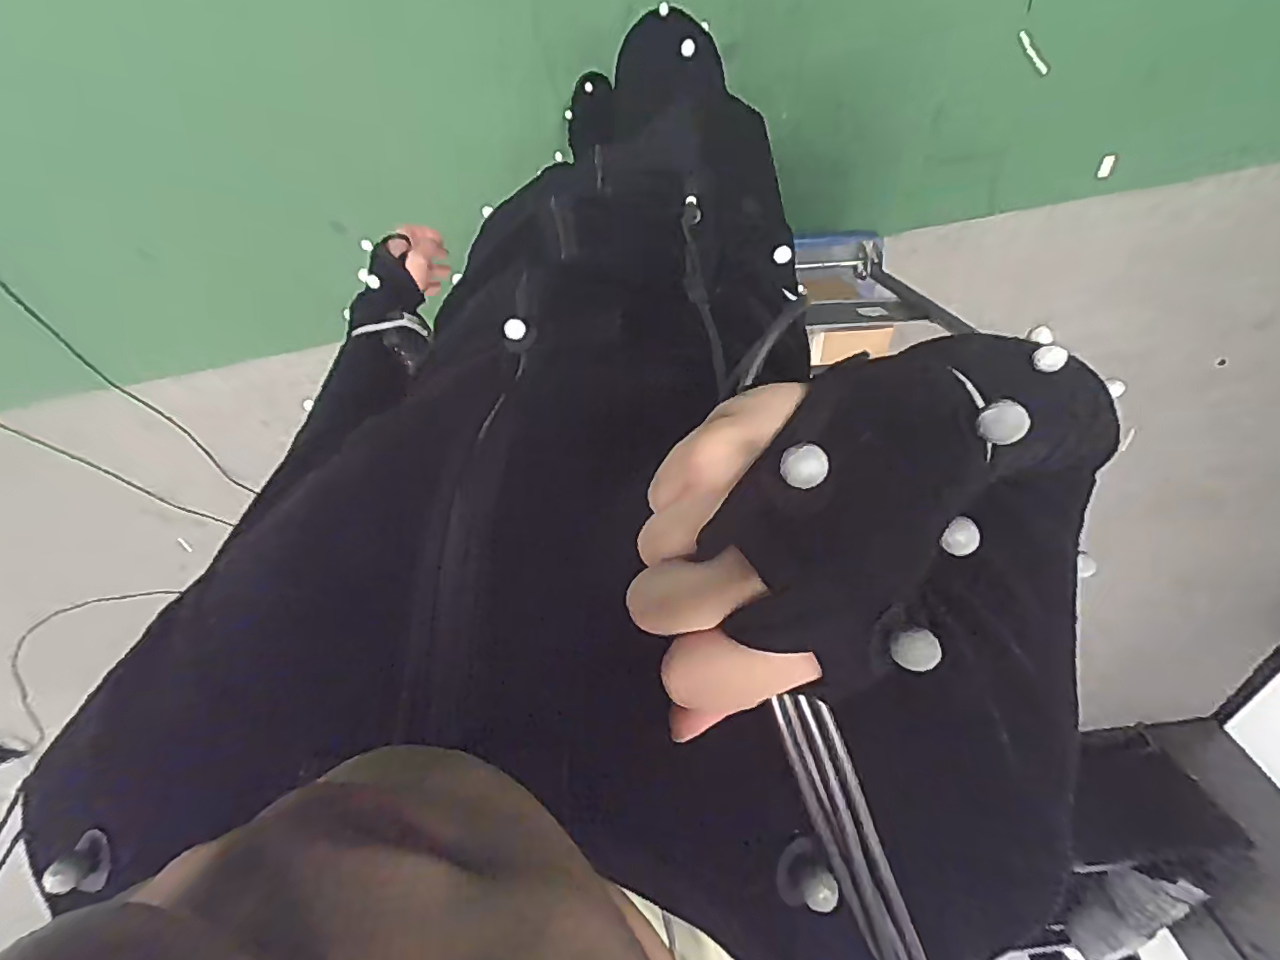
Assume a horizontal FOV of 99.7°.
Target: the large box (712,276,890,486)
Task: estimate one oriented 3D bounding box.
[{"bbox_3d":[0.360,-0.244,1.335,0.320,0.320,0.408,-3,129,-1],"label":"large box"}]
